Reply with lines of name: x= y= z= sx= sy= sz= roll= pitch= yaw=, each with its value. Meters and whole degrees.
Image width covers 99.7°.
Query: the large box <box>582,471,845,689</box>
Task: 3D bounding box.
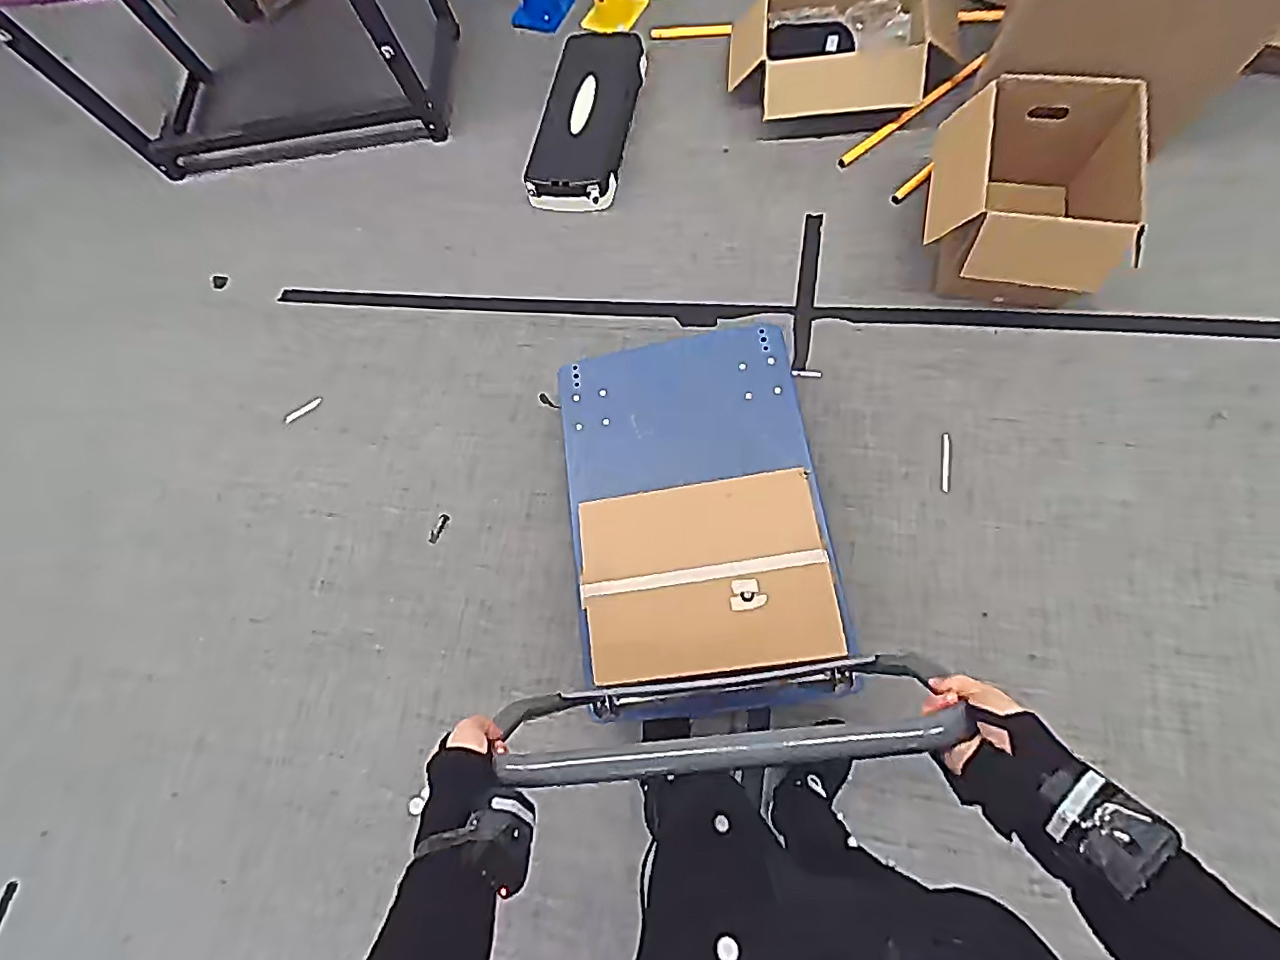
large box: x=0.128 y=0.206 z=1.049 sx=0.408 sy=0.320 sz=0.320 roll=-10 pitch=72 yaw=6
